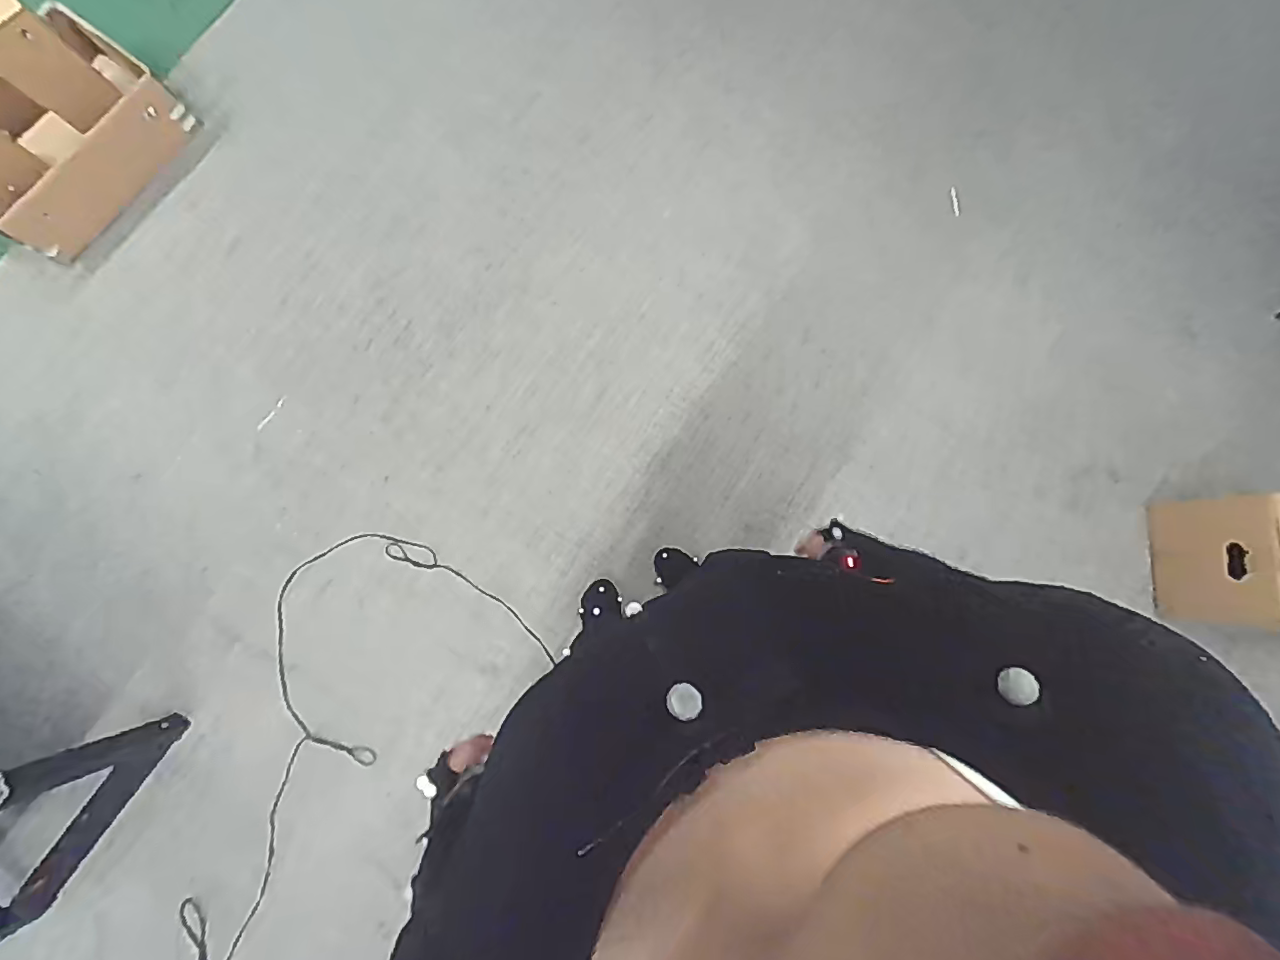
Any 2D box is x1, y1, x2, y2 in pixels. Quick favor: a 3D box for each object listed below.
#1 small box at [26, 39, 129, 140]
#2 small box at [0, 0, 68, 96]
[{"bbox_3d":[-1.644,-1.129,1.543,0.179,0.176,0.168,43,84,3],"label":"small box"},{"bbox_3d":[-1.637,-1.147,1.379,0.168,0.176,0.179,44,85,5],"label":"small box"}]
